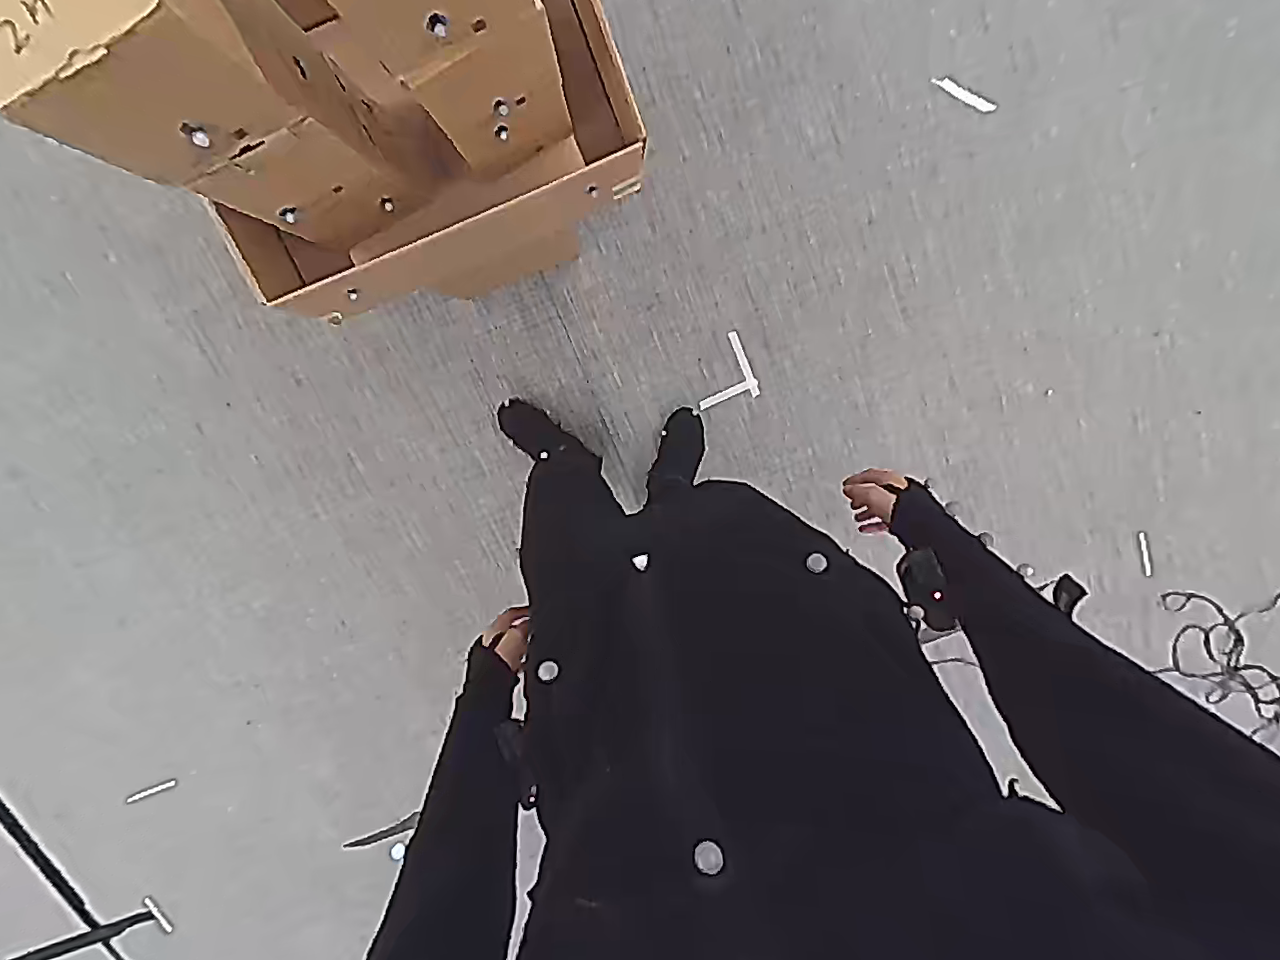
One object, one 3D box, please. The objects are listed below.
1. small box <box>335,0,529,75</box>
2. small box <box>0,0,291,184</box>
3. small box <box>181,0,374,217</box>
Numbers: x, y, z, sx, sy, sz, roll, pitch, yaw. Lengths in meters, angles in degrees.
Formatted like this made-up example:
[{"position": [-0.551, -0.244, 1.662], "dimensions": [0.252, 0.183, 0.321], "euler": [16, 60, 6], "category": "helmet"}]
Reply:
[{"position": [-0.214, -0.507, 0.464], "dimensions": [0.168, 0.176, 0.179], "euler": [-23, 103, 4], "category": "small box"}, {"position": [-0.468, -0.406, 0.479], "dimensions": [0.168, 0.176, 0.179], "euler": [-27, 100, 4], "category": "small box"}, {"position": [-0.457, -0.438, 0.641], "dimensions": [0.168, 0.176, 0.179], "euler": [-25, 100, 4], "category": "small box"}]
